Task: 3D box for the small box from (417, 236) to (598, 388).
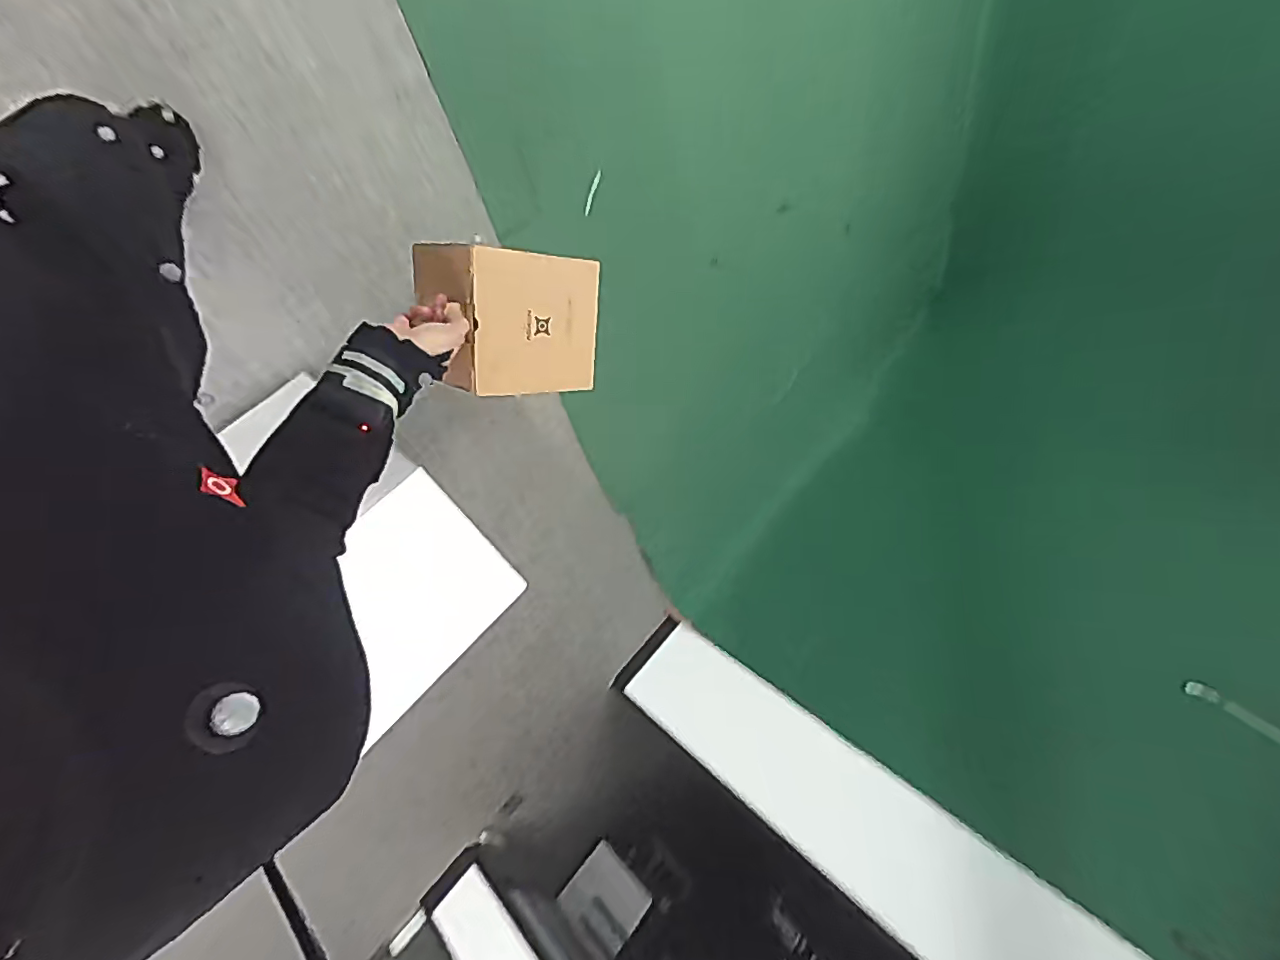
[{"bbox_3d":[-0.176,-0.219,0.705,0.179,0.176,0.168,-15,118,-41],"label":"small box"}]
